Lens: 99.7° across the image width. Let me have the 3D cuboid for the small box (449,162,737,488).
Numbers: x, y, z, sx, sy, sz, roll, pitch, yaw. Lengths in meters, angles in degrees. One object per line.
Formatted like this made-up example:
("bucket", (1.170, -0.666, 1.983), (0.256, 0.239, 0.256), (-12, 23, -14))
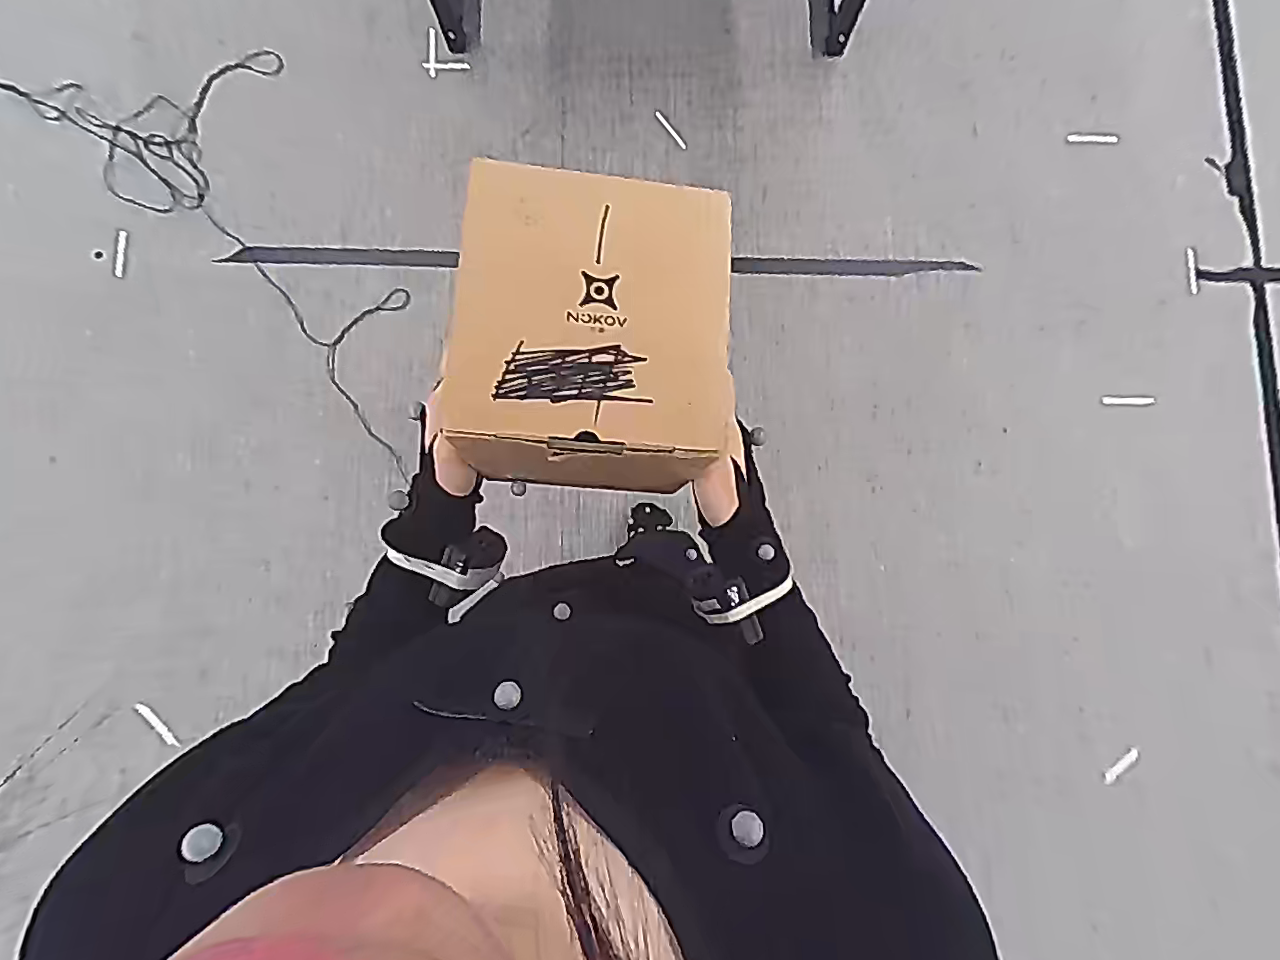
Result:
("small box", (-0.032, -0.093, 0.407), (0.168, 0.176, 0.179), (4, 79, -7))

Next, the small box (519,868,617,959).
("small box", (-0.133, 0.894, 1.056), (0.179, 0.176, 0.168), (-1, 84, 0))
